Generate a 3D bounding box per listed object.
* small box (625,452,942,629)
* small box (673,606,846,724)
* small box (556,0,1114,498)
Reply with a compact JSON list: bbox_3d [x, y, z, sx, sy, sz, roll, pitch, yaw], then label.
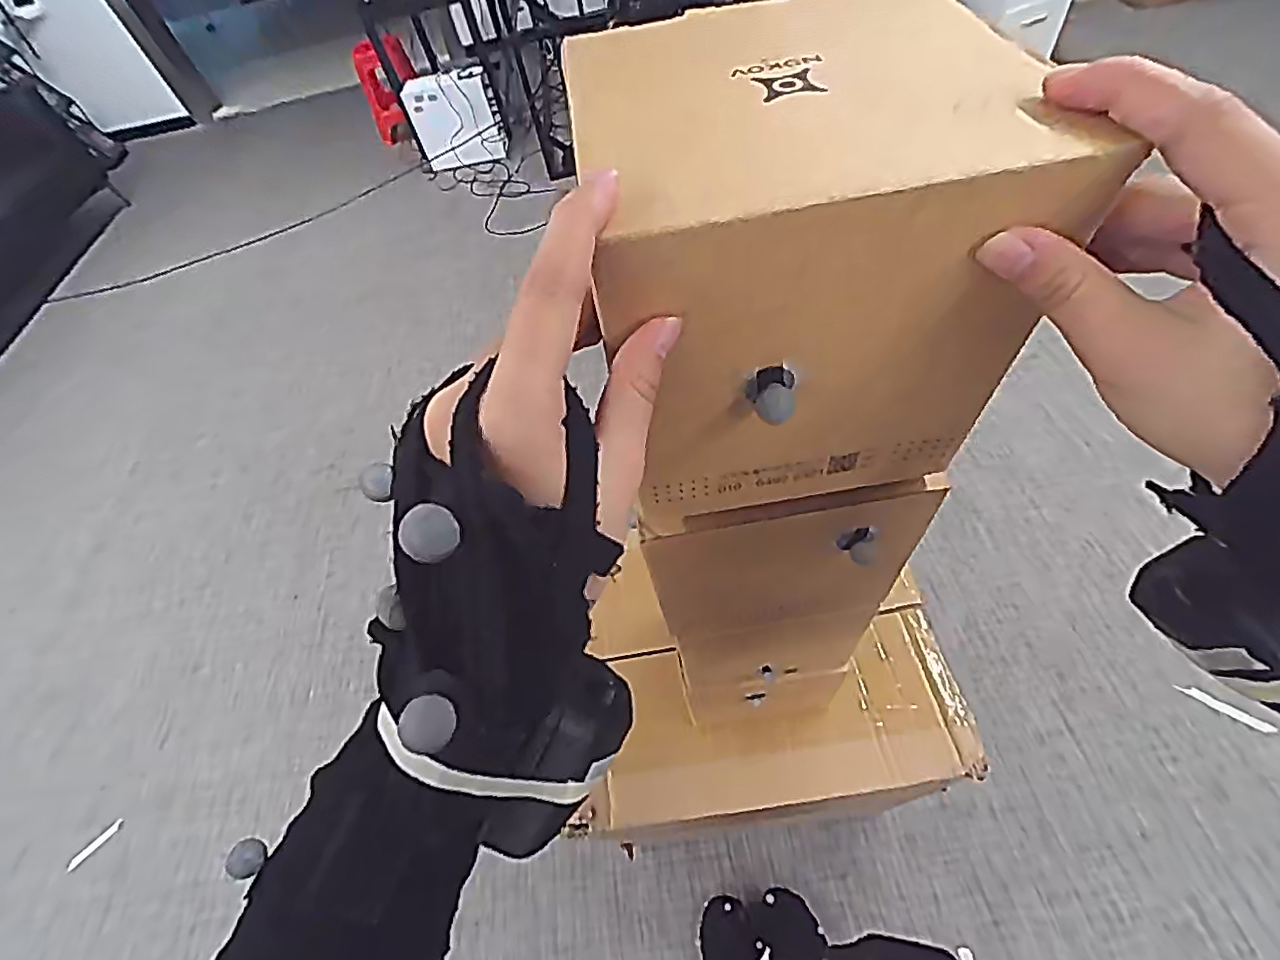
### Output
[{"bbox_3d":[0.085,-0.002,0.411,0.179,0.176,0.168,-11,54,3],"label":"small box"},{"bbox_3d":[0.134,0.192,0.673,0.179,0.176,0.168,-10,54,3],"label":"small box"},{"bbox_3d":[0.060,-0.105,0.272,0.168,0.176,0.179,-10,54,2],"label":"small box"}]
